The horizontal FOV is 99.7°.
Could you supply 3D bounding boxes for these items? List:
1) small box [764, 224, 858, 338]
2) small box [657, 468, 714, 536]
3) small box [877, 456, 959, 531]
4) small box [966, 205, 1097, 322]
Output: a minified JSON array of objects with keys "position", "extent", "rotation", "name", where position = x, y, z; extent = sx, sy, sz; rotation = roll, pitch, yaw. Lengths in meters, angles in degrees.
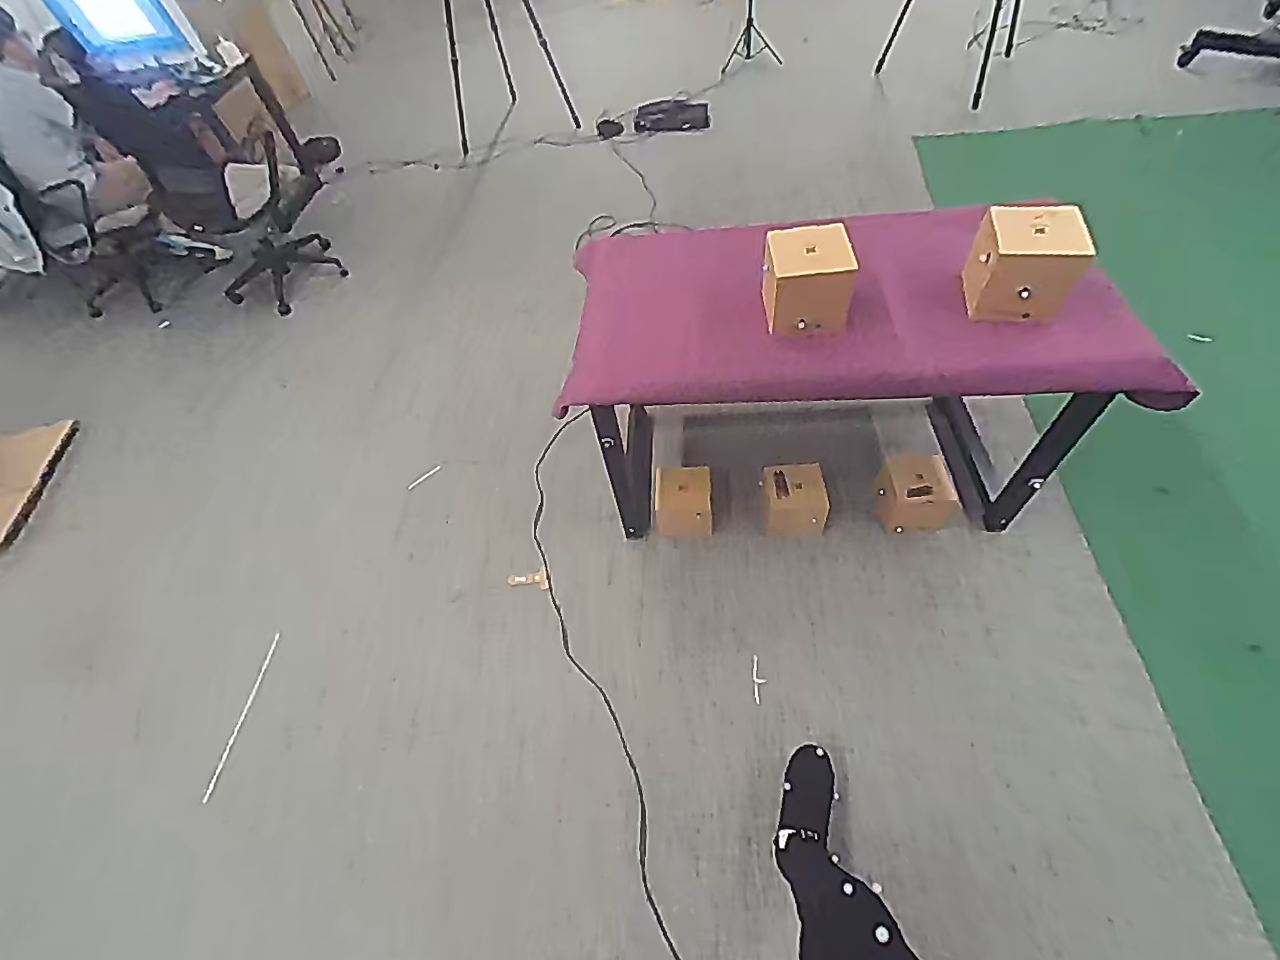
[{"position":[0.372,-0.441,1.208],"extent":[0.168,0.176,0.179],"rotation":[-3,55,8],"name":"small box"},{"position":[0.153,0.076,1.774],"extent":[0.179,0.176,0.168],"rotation":[-2,54,8],"name":"small box"},{"position":[0.854,0.048,1.678],"extent":[0.168,0.176,0.179],"rotation":[-4,53,6],"name":"small box"},{"position":[0.813,-0.454,1.144],"extent":[0.168,0.176,0.179],"rotation":[7,56,14],"name":"small box"}]
